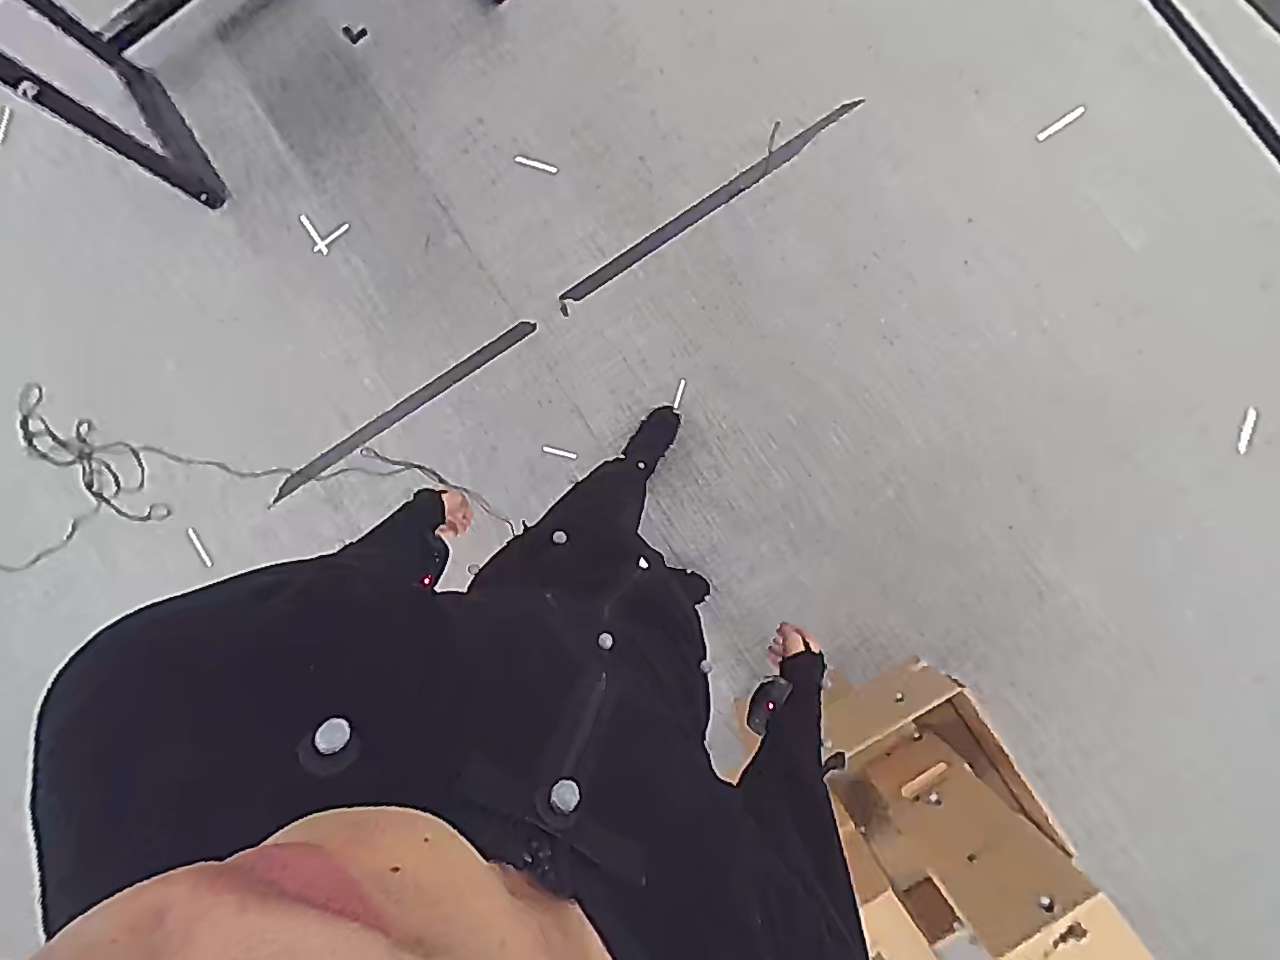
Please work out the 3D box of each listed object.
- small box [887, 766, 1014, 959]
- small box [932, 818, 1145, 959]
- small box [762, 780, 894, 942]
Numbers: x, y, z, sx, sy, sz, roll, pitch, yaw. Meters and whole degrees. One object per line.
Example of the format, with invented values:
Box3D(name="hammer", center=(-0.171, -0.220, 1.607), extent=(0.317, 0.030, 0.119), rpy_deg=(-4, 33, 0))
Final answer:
Box3D(name="small box", center=(0.563, 0.637, 0.922), extent=(0.168, 0.176, 0.179), rpy_deg=(-35, 86, 2))
Box3D(name="small box", center=(0.558, 0.630, 0.757), extent=(0.168, 0.176, 0.179), rpy_deg=(-35, 88, 2))
Box3D(name="small box", center=(0.370, 0.760, 1.098), extent=(0.168, 0.176, 0.179), rpy_deg=(-31, 86, 1))
